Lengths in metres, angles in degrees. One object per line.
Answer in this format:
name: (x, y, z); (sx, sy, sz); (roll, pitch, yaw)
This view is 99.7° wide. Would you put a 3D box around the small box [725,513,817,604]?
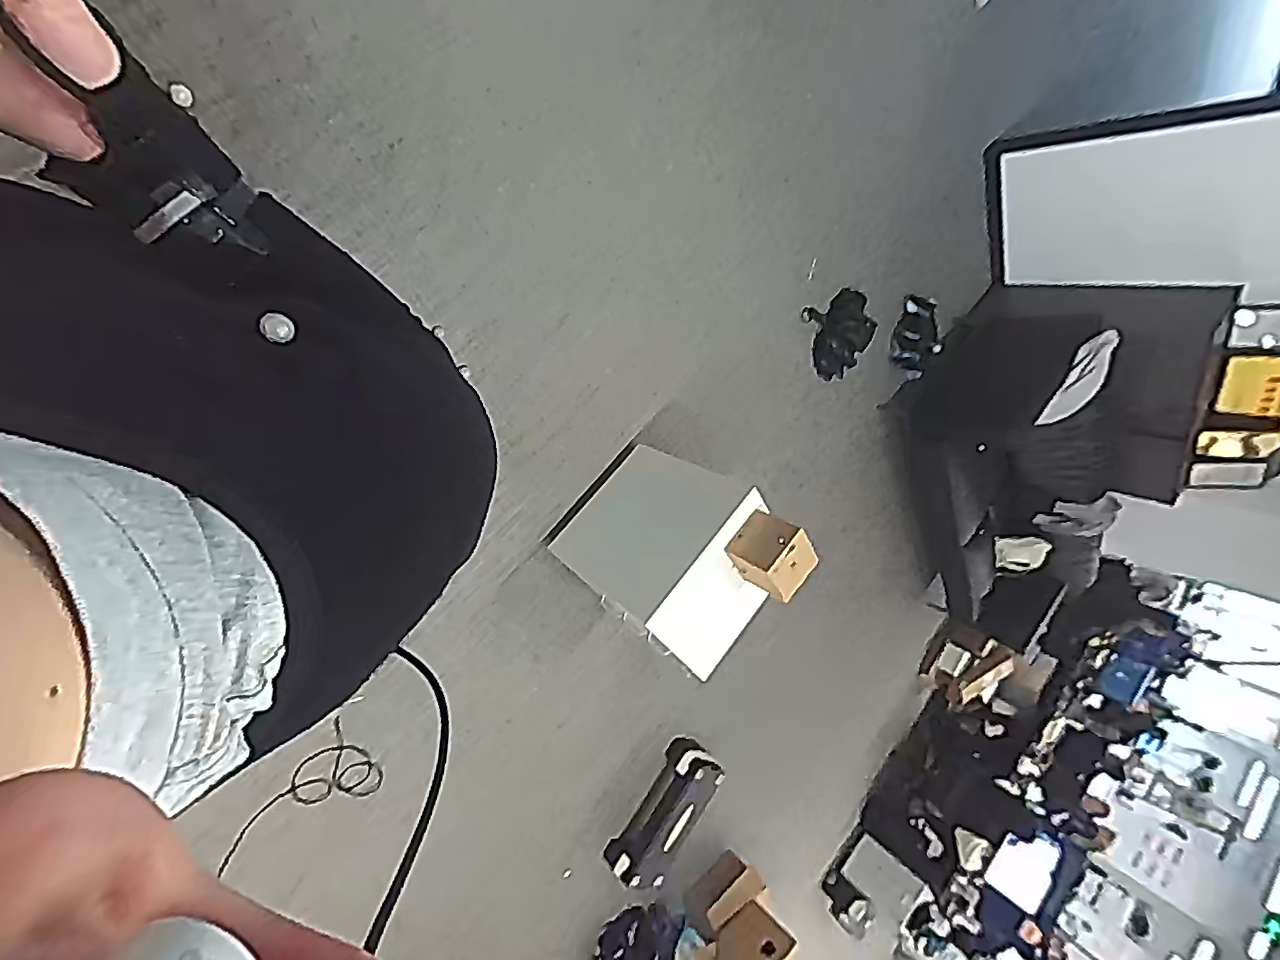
small box: (0.380, 0.222, 1.571); (0.168, 0.176, 0.179); (-48, 131, -14)
